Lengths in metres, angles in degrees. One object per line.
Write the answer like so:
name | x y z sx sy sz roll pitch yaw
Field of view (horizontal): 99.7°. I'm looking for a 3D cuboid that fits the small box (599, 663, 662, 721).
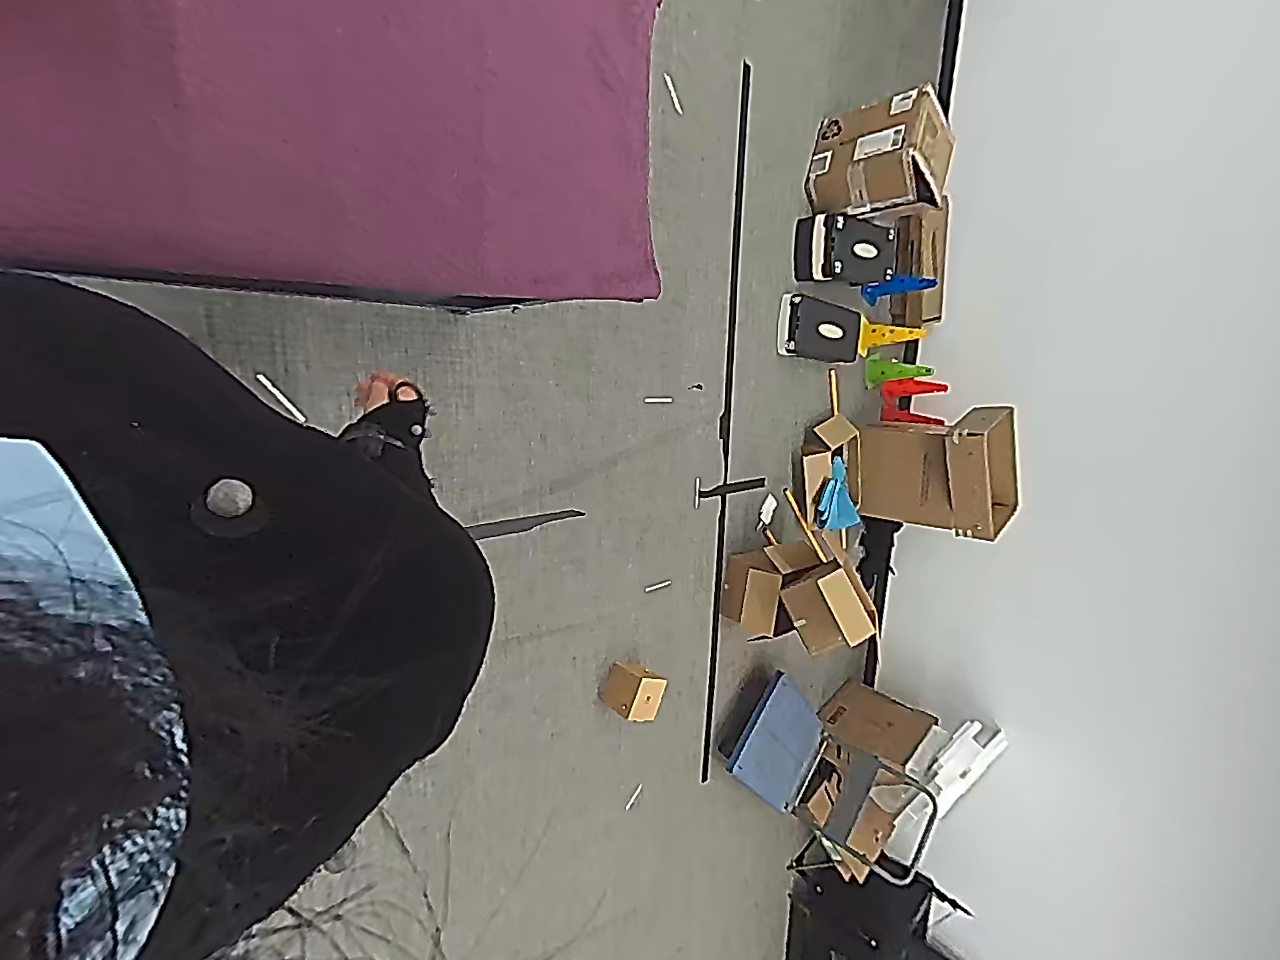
small box | -0.043 0.867 2.218 0.168 0.176 0.179 26 82 -45
